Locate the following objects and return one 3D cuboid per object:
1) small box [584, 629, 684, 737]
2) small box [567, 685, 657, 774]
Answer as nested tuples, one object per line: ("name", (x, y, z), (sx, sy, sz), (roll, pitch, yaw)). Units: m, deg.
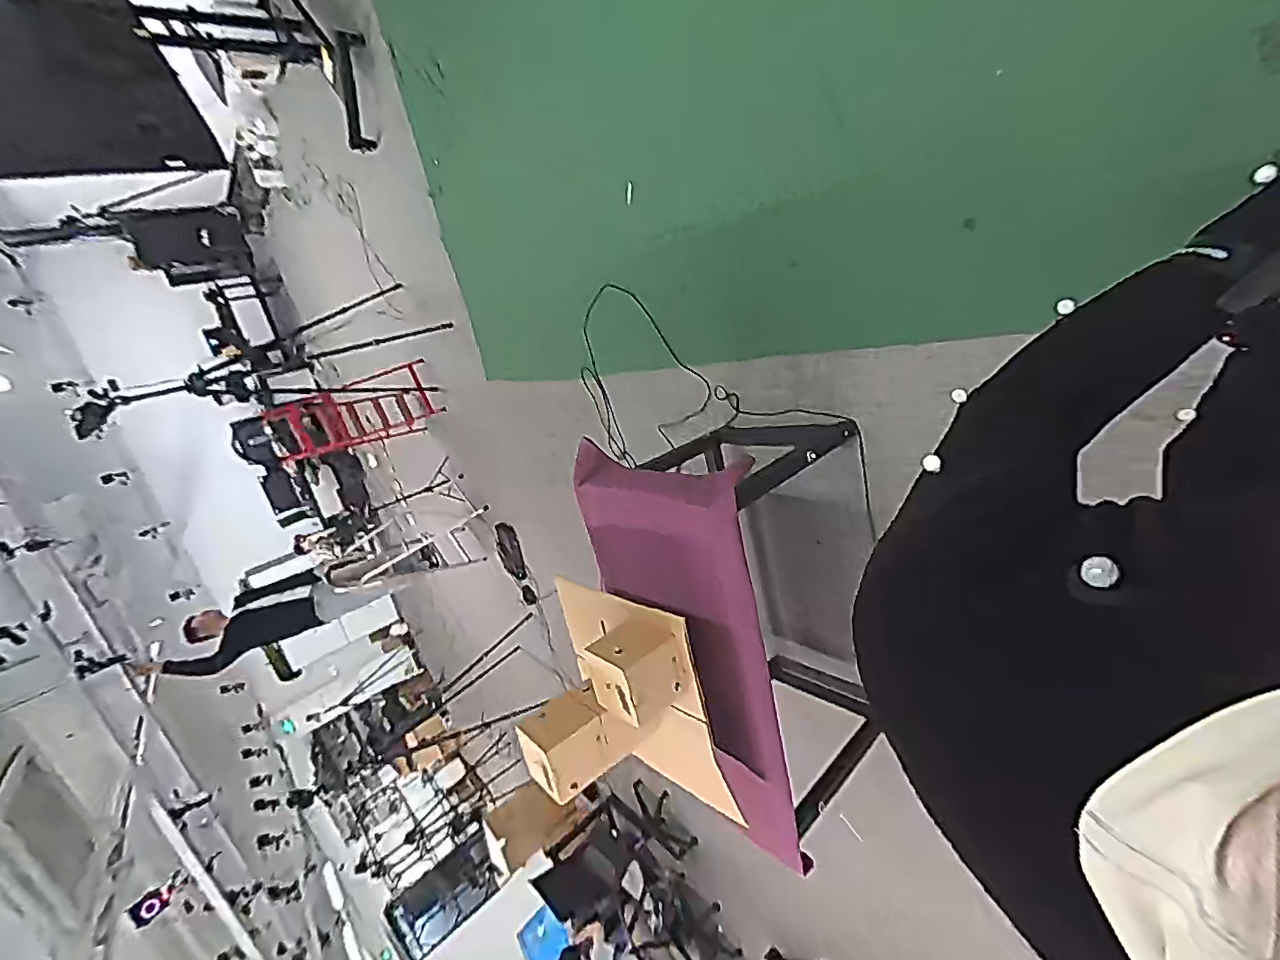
("small box", (-0.008, 0.495, 1.352), (0.179, 0.176, 0.168), (3, 111, 51))
("small box", (-0.078, 0.683, 1.538), (0.179, 0.176, 0.168), (4, 111, 50))
